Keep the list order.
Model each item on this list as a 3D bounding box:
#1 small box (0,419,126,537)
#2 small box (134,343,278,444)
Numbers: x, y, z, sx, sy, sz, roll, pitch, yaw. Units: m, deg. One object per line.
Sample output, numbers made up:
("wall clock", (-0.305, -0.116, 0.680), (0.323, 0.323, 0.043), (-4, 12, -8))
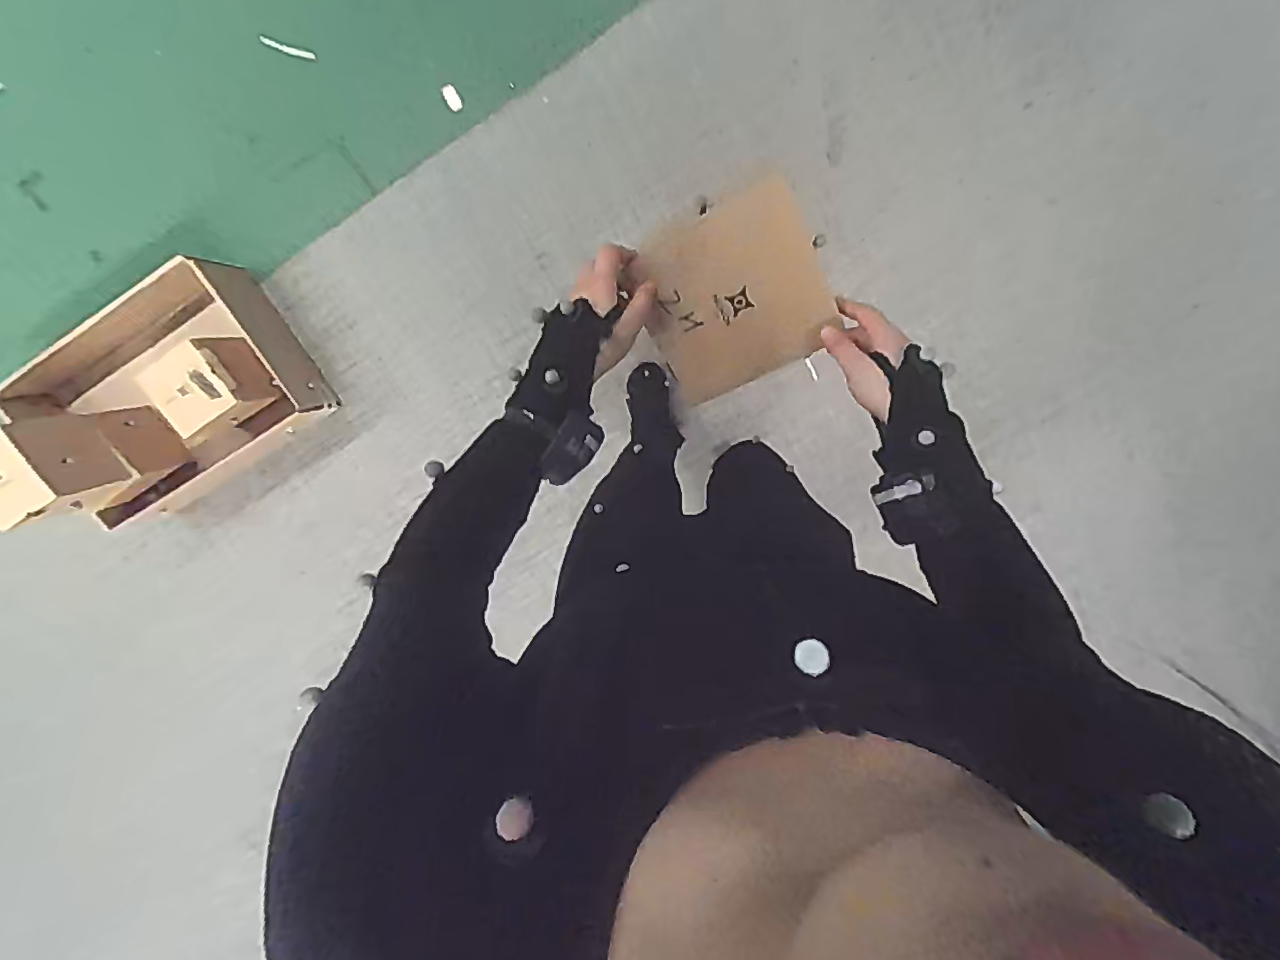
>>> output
("small box", (-1.281, -0.011, 1.157), (0.168, 0.176, 0.179), (-27, 104, 7))
("small box", (-1.000, -0.211, 1.272), (0.179, 0.176, 0.168), (-29, 103, 9))
